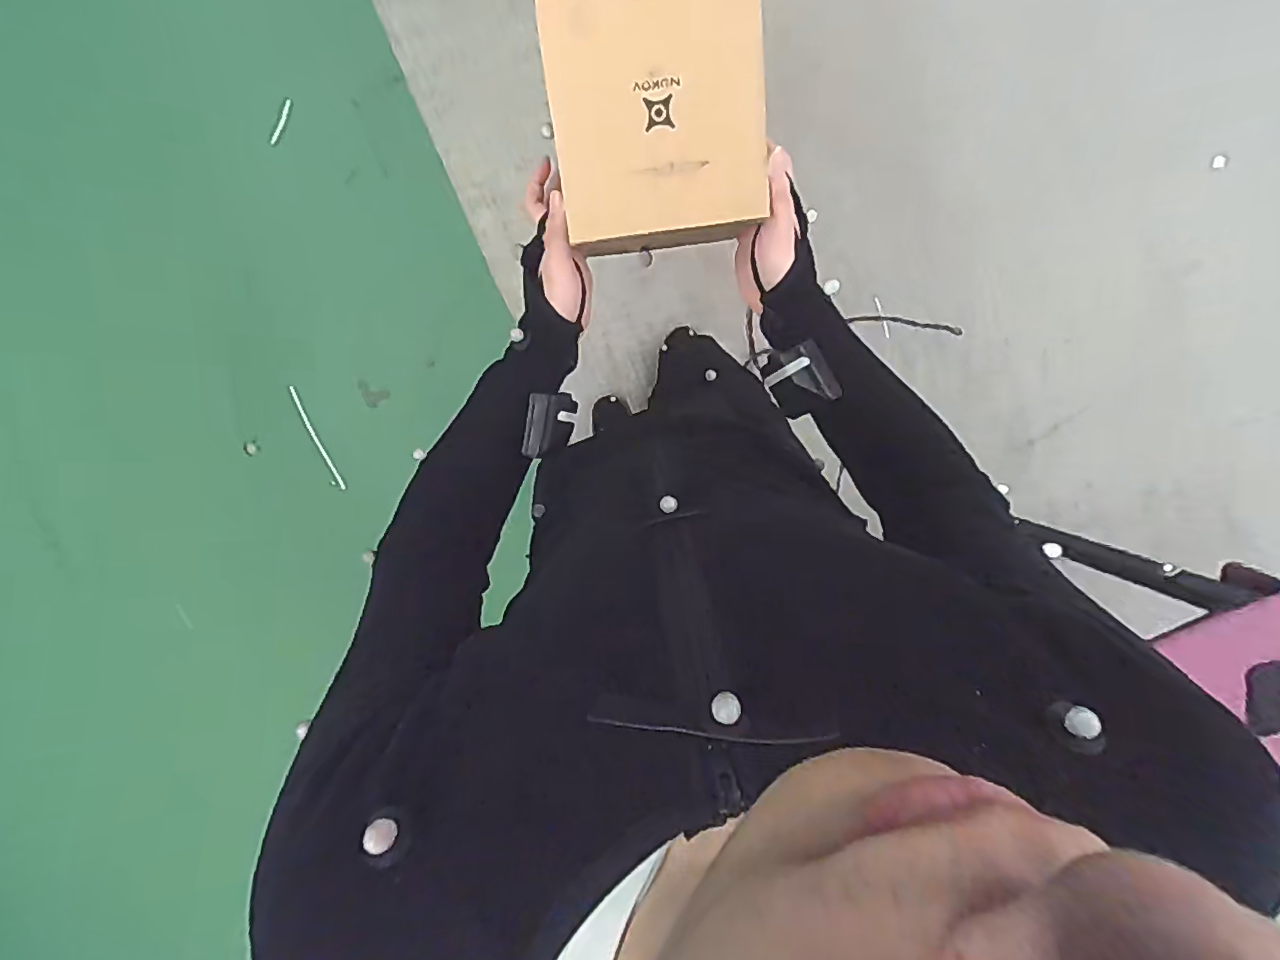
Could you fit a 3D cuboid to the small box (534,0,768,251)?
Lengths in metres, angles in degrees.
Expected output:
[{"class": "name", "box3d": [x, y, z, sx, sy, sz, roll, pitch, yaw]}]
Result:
[{"class": "small box", "box3d": [0.010, -0.310, 0.474, 0.168, 0.176, 0.179, -6, 108, 2]}]
